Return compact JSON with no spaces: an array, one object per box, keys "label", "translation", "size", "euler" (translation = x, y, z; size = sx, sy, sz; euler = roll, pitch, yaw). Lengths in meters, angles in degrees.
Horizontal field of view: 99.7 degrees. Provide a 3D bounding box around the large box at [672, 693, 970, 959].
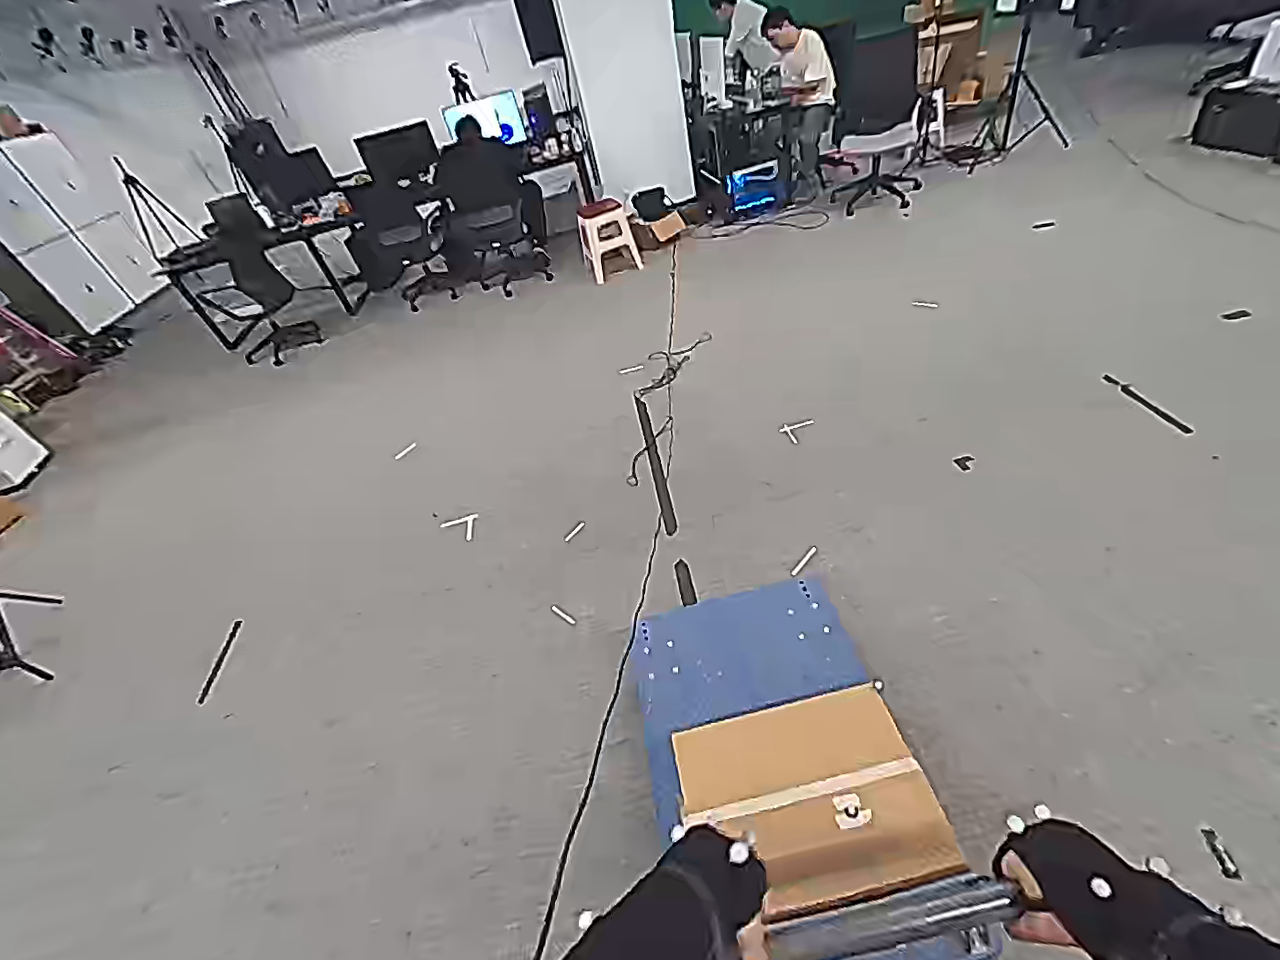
[{"label":"large box","translation":[0.304,0.660,1.003],"size":[0.408,0.320,0.320],"euler":[-15,40,1]}]
